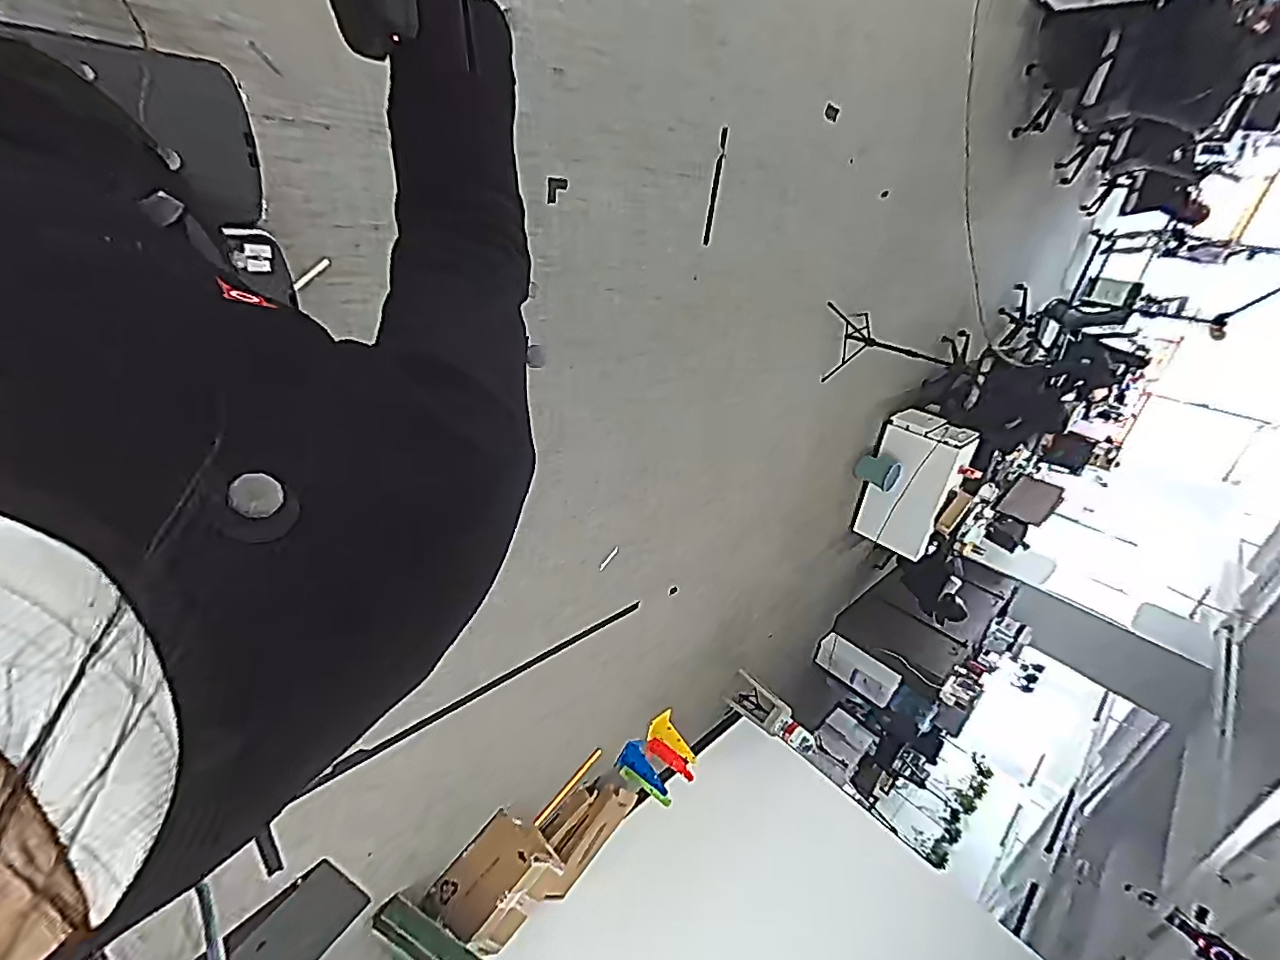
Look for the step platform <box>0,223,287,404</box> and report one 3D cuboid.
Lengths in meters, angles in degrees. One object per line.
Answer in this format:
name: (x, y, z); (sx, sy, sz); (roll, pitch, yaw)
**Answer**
step platform: (-1.054, -0.313, 0.988); (0.684, 0.204, 0.286); (-19, 126, -37)
